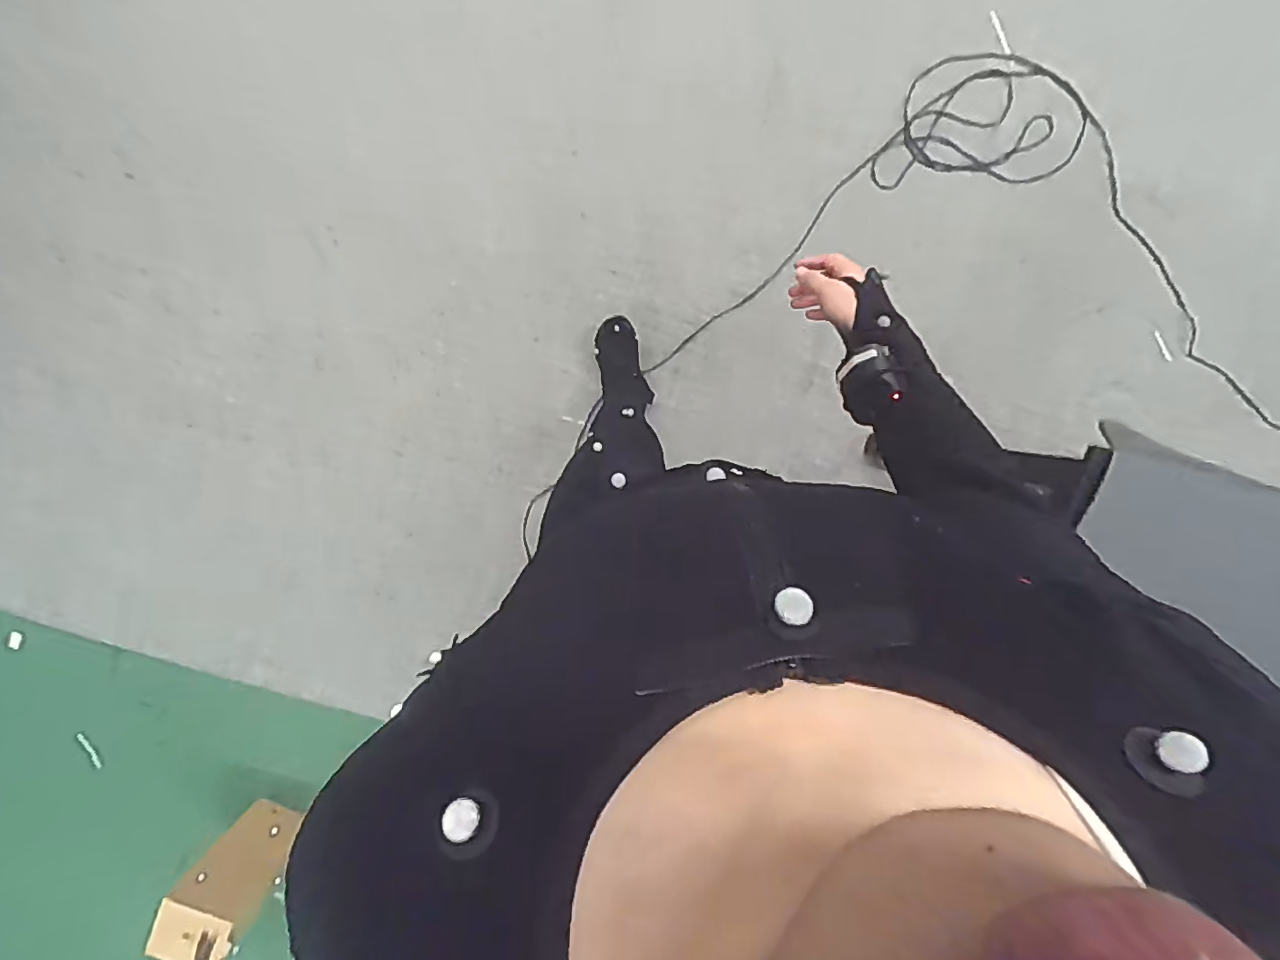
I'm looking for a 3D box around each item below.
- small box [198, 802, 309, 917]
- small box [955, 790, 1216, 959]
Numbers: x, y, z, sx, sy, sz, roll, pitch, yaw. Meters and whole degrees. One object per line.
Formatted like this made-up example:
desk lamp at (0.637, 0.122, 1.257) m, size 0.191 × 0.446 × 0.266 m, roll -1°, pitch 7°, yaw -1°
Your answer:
small box at (-1.068, 1.050, 1.513) m, size 0.168 × 0.176 × 0.179 m, roll 25°, pitch 97°, yaw -4°
small box at (0.583, 0.565, 0.733) m, size 0.179 × 0.176 × 0.168 m, roll 25°, pitch 96°, yaw -7°
